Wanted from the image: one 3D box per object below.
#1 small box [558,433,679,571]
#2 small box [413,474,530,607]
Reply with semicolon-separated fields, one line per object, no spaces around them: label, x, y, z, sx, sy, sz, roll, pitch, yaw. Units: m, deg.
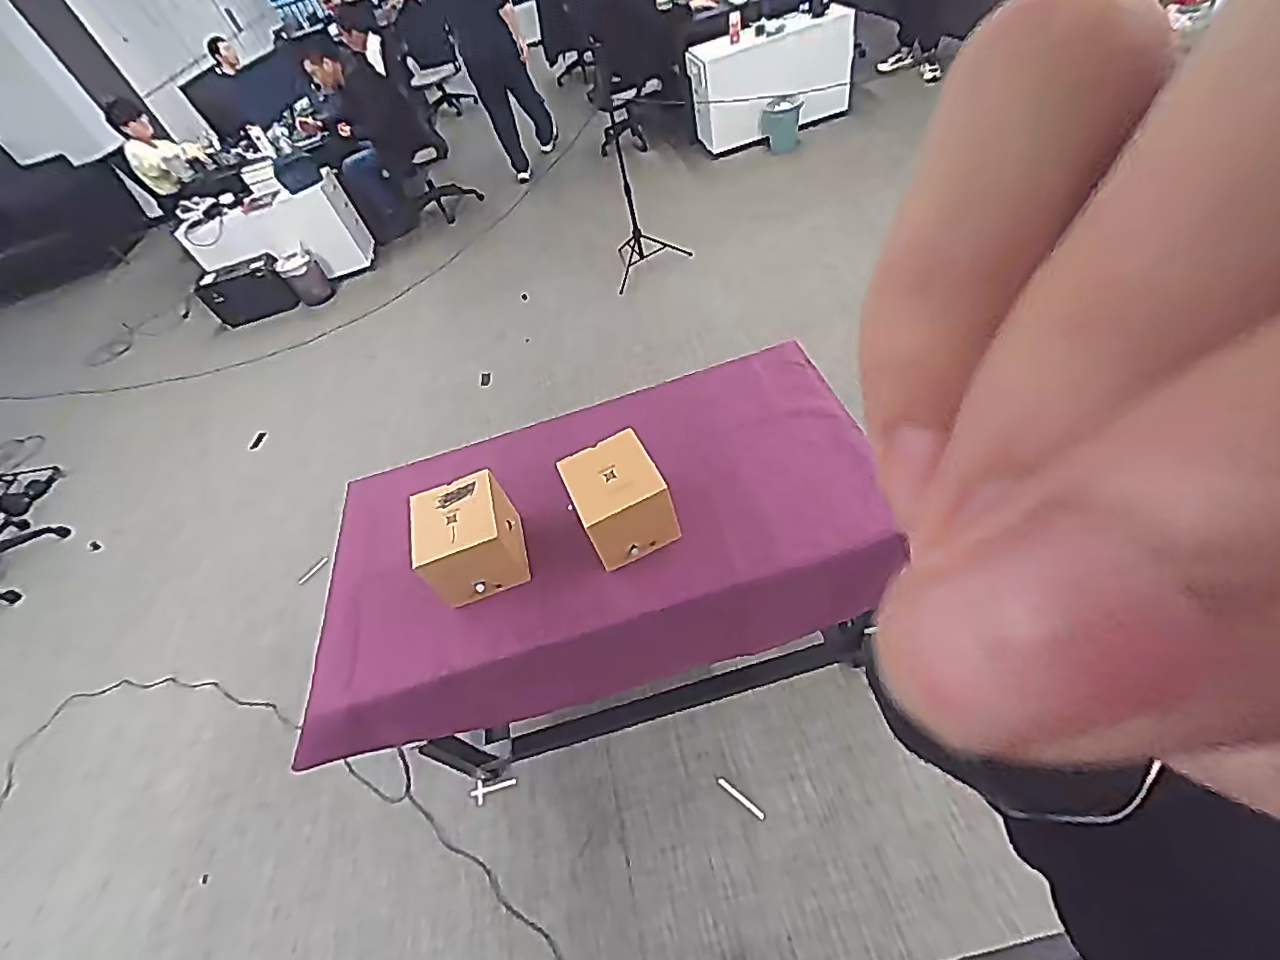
small box;-0.040;0.045;1.068;0.168;0.176;0.179;-26;49;-5
small box;-0.336;0.124;1.085;0.168;0.176;0.179;-21;50;-1
